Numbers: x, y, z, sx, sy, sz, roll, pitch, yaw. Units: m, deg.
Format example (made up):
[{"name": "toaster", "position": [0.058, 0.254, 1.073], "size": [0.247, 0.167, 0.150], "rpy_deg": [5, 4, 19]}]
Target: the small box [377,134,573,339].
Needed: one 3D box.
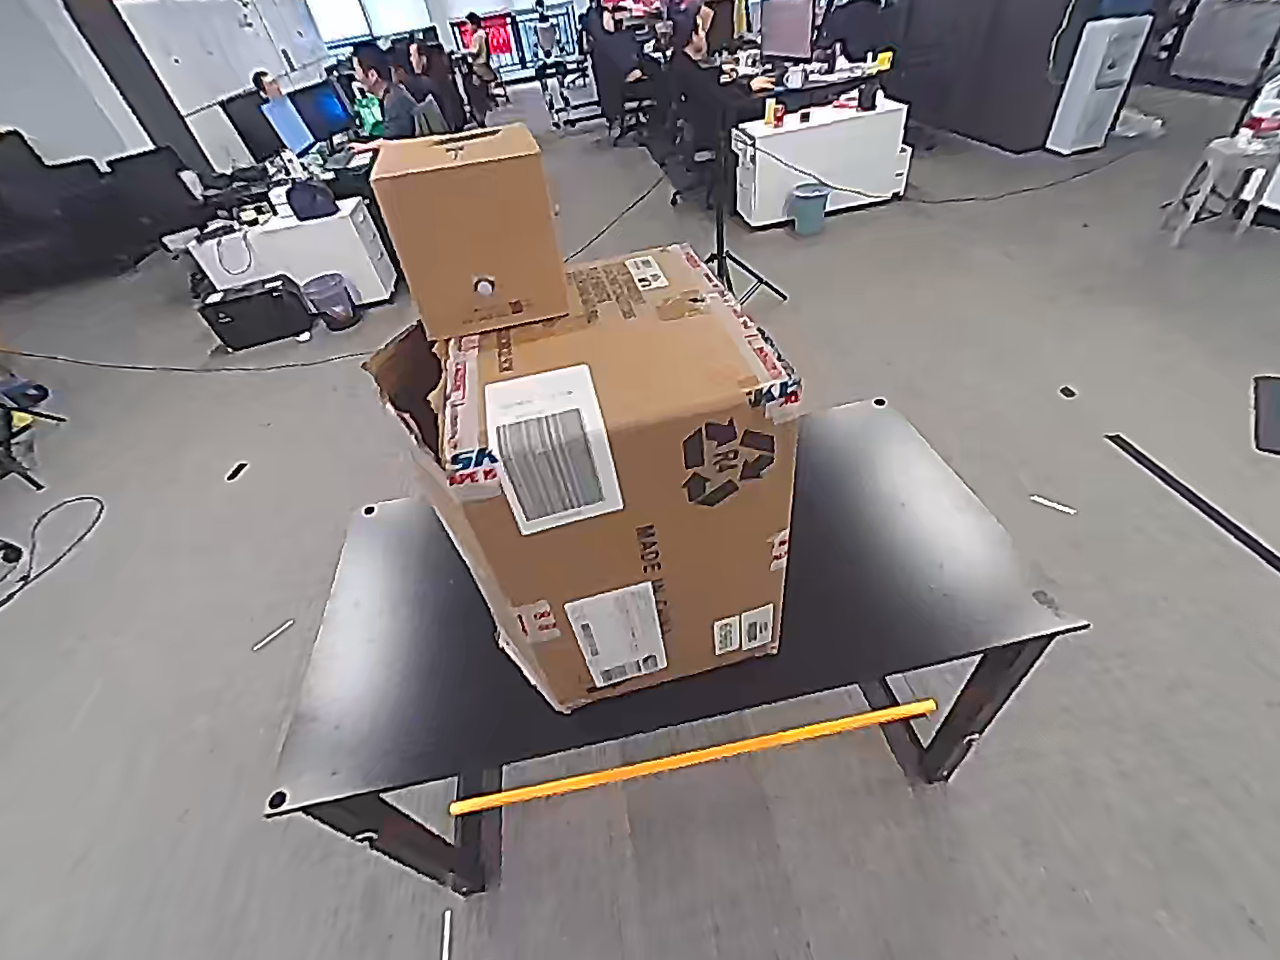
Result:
[{"name": "small box", "position": [-0.181, -0.286, 0.630], "size": [0.168, 0.176, 0.179], "rpy_deg": [-14, 41, -7]}]
